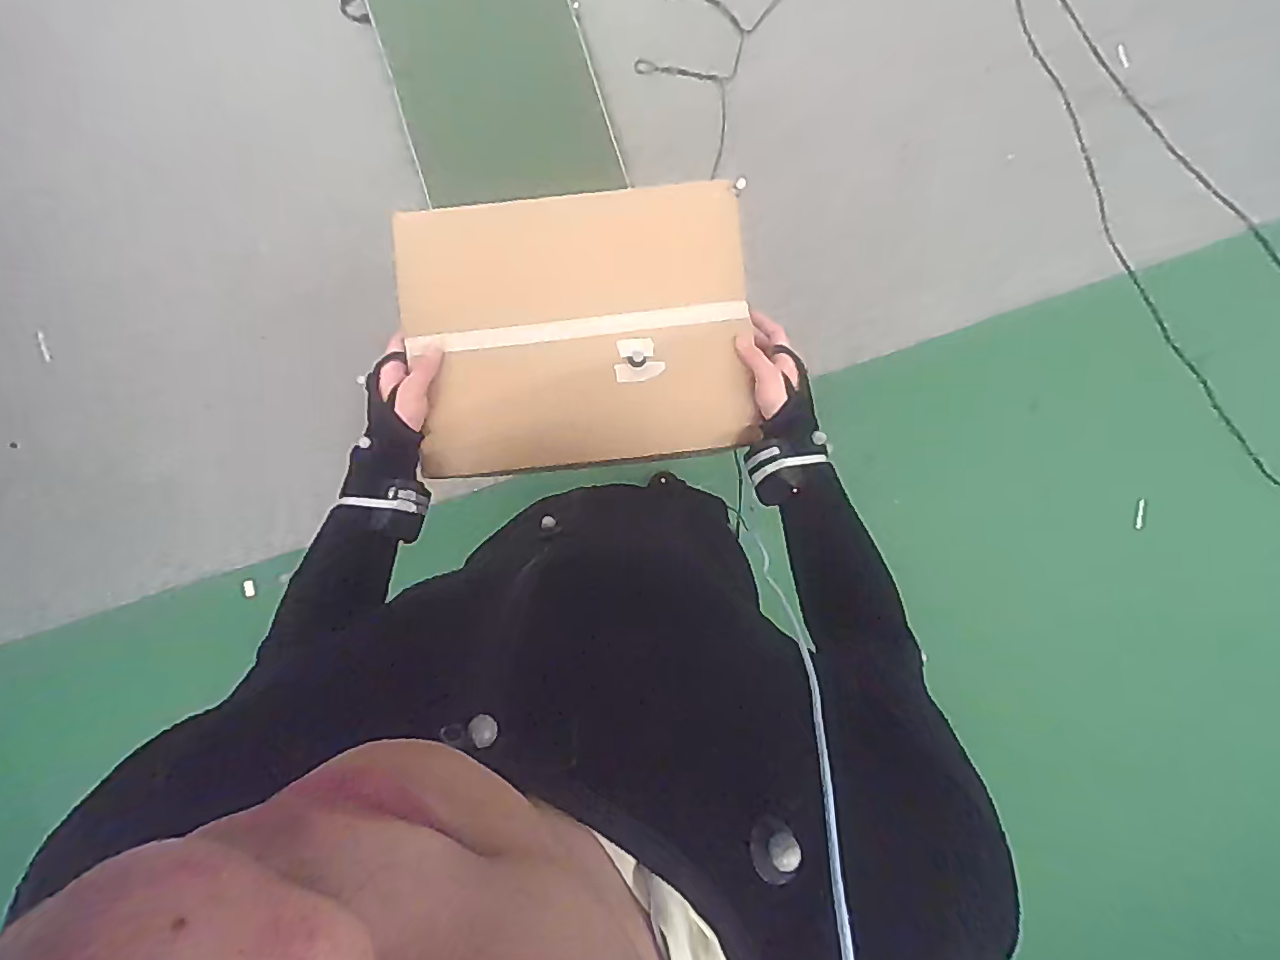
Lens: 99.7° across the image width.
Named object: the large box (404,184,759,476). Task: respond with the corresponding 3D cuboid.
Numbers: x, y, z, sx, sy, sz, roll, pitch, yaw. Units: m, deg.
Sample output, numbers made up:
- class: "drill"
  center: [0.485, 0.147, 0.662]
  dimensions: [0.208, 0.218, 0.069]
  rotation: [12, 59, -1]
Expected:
- class: "large box"
  center: [-0.072, -0.182, 0.796]
  dimensions: [0.408, 0.320, 0.320]
  rotation: [-6, 91, -1]
